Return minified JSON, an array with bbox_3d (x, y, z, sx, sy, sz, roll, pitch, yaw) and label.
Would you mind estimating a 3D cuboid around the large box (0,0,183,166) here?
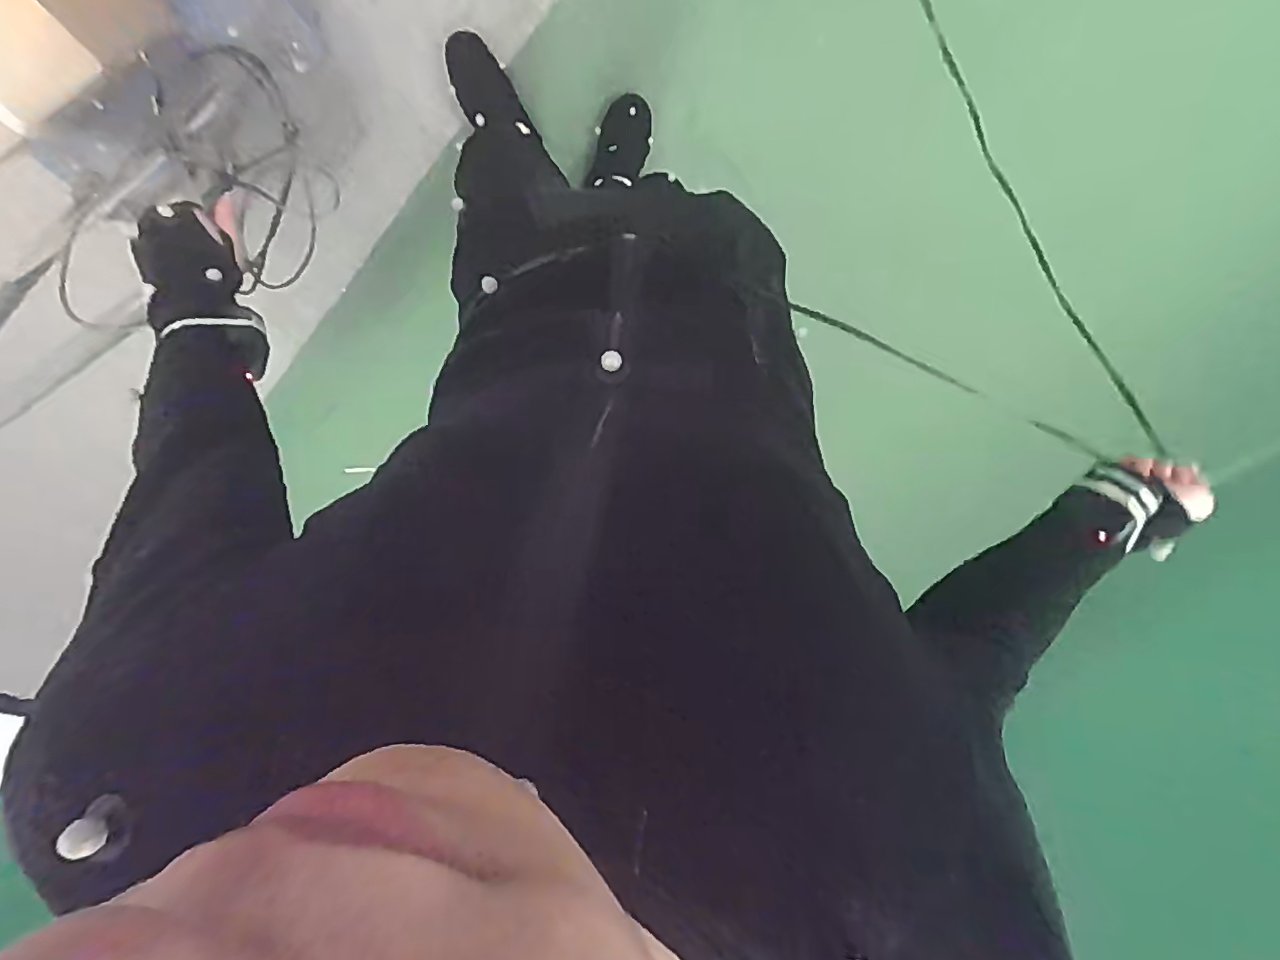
[{"bbox_3d":[-0.944,-0.700,0.694,0.320,0.320,0.408,-25,138,11],"label":"large box"}]
